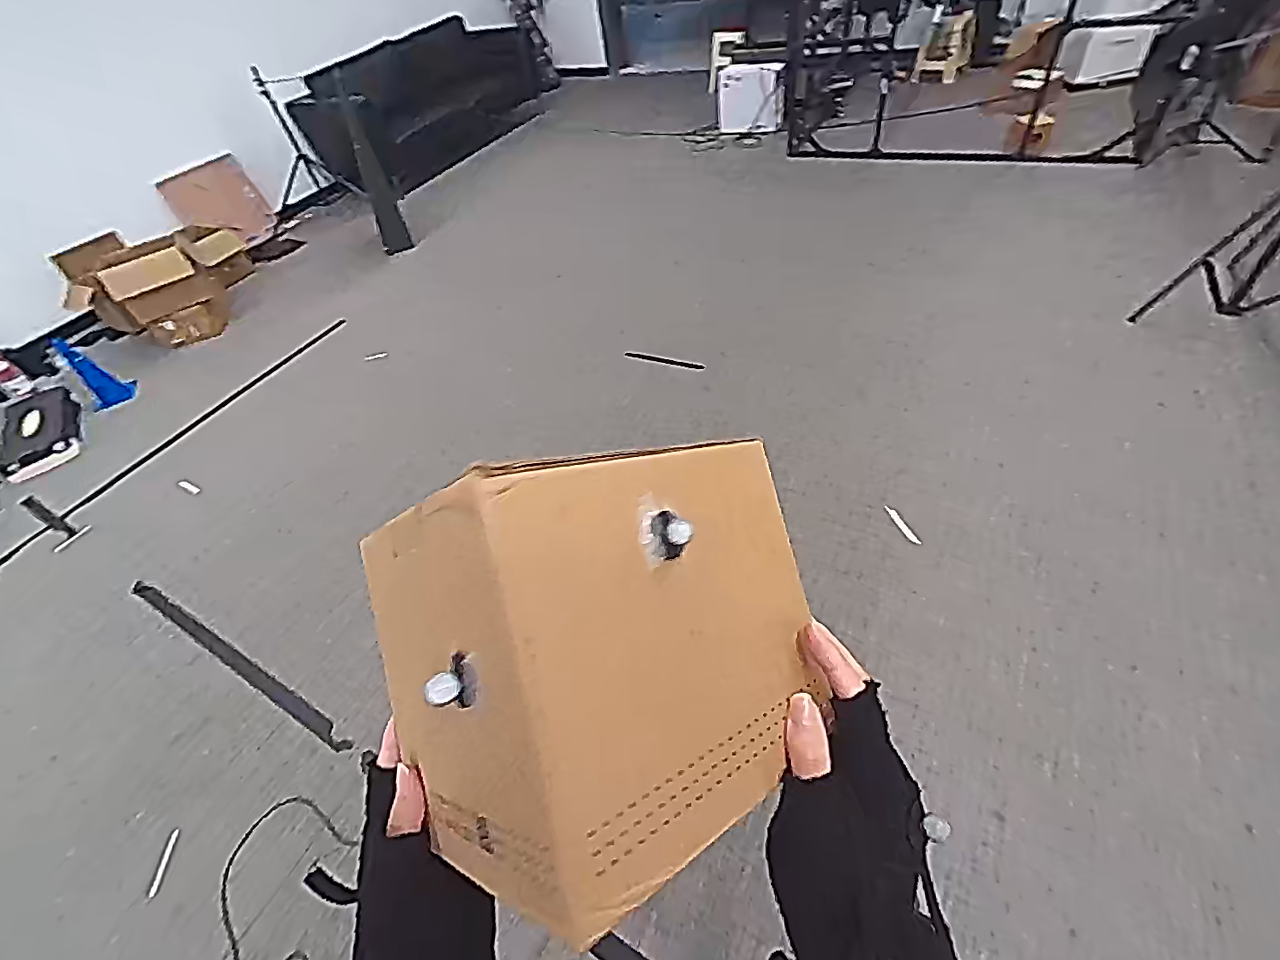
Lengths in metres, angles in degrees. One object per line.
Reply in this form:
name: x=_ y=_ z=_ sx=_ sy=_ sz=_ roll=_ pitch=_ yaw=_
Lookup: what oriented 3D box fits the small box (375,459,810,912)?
small box: x=-0.026 y=0.097 z=0.316 sx=0.179 sy=0.168 sz=0.176 roll=-7 pitch=80 yaw=-43
